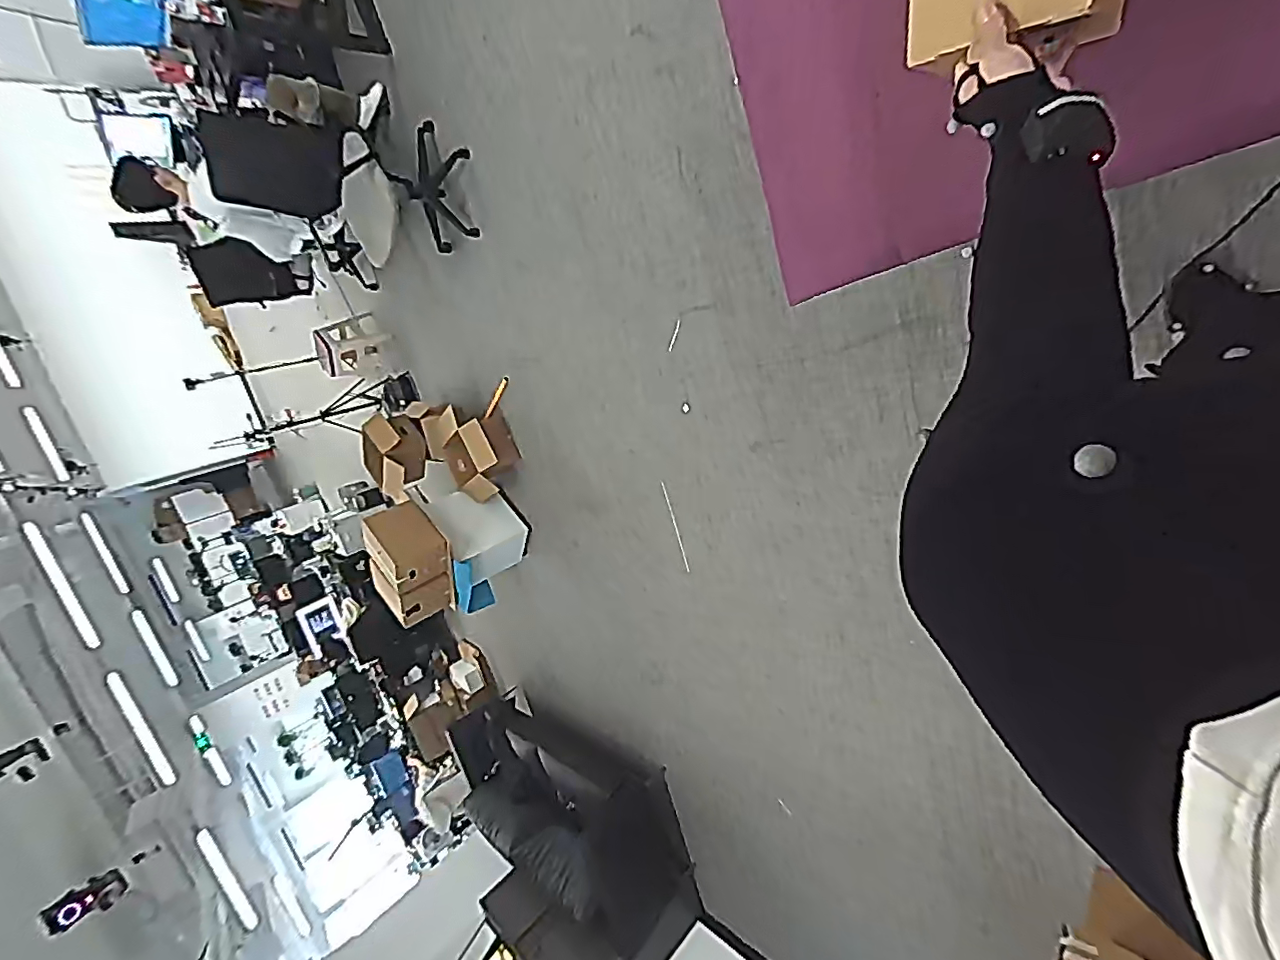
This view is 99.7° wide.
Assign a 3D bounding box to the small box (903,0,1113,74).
[{"bbox_3d":[0.400,-0.558,0.575,0.168,0.176,0.179,15,123,41],"label":"small box"}]
